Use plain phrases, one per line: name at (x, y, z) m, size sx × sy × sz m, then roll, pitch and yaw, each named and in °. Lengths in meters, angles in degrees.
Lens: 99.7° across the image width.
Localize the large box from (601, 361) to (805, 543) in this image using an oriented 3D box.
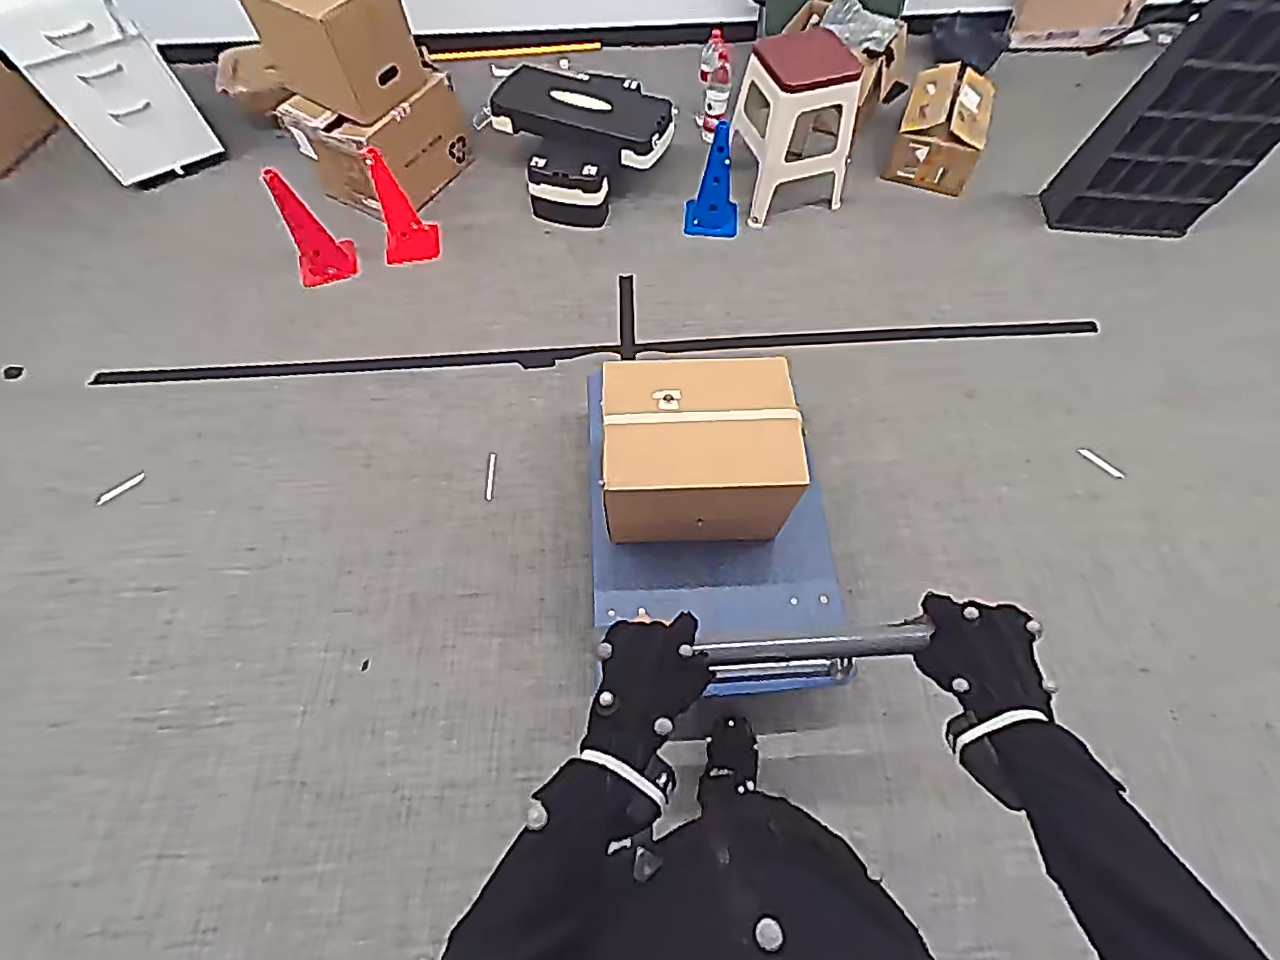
large box at (0.124, -0.051, 1.252) m, size 0.408 × 0.320 × 0.320 m, roll -2°, pitch 64°, yaw 0°
